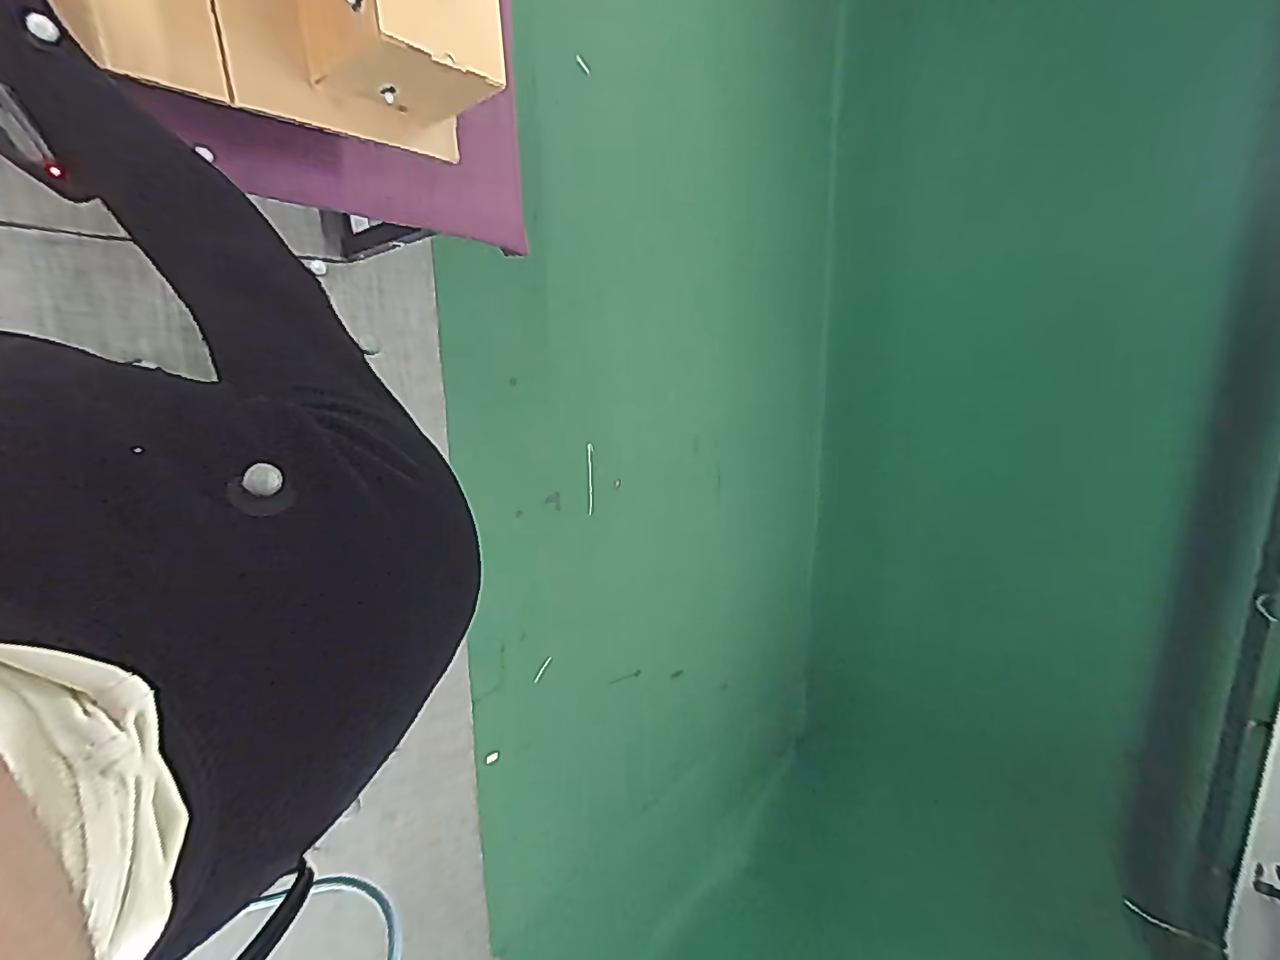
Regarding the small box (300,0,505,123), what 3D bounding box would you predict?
[{"bbox_3d":[-0.285,-0.563,0.641,0.168,0.176,0.179,-20,113,-50],"label":"small box"}]
